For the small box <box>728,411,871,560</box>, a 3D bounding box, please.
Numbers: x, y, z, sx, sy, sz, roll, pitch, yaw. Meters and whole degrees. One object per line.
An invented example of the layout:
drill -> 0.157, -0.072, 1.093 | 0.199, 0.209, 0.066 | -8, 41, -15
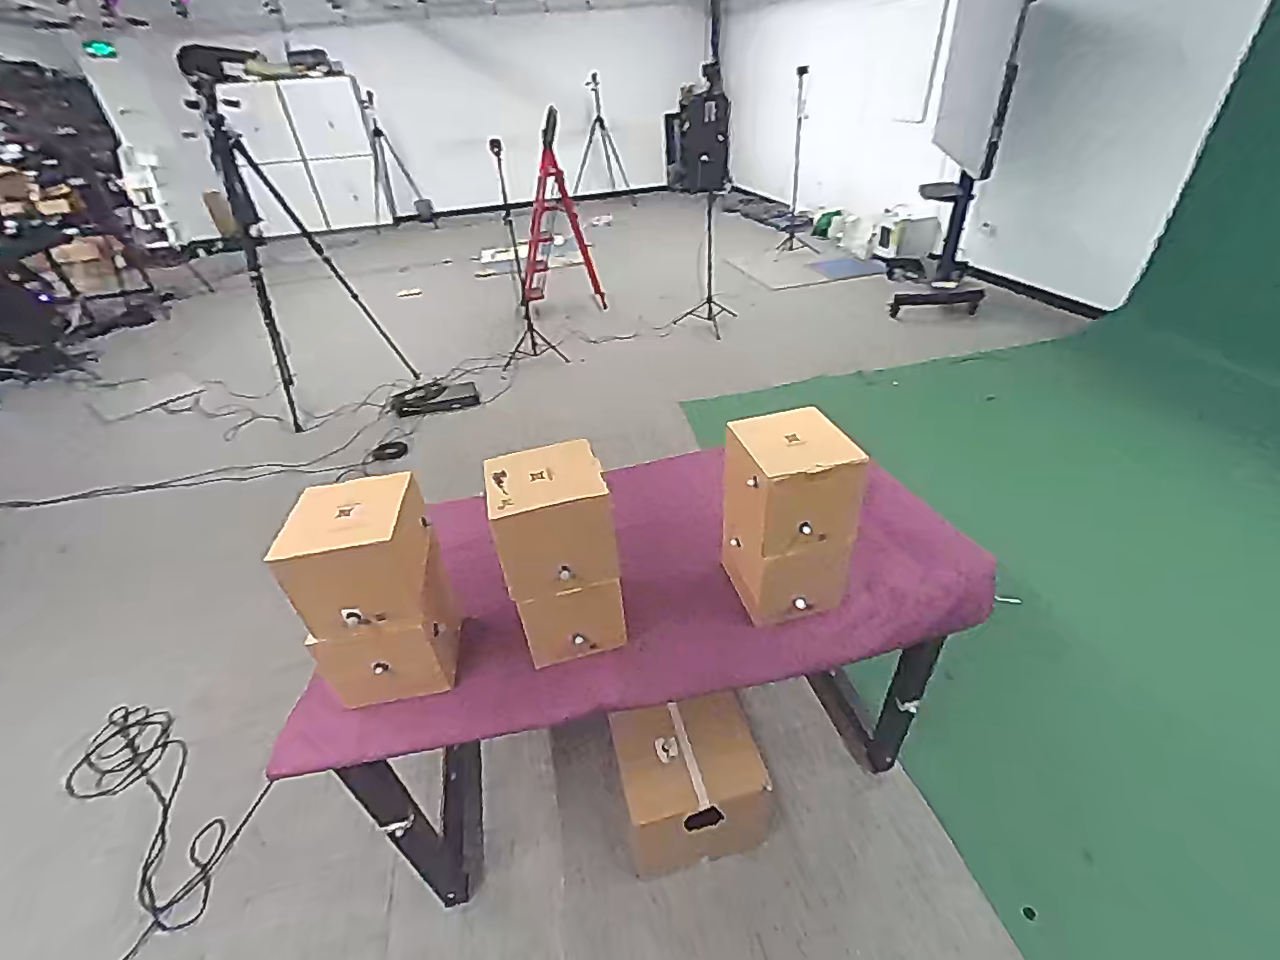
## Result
small box -> 0.253, 0.007, 0.911 | 0.168, 0.176, 0.179 | -11, 37, -9

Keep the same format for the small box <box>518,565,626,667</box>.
small box -> -0.126, 0.197, 0.964 | 0.168, 0.176, 0.179 | -12, 36, -10

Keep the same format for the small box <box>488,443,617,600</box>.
small box -> -0.137, 0.064, 0.867 | 0.179, 0.176, 0.168 | -11, 35, -11

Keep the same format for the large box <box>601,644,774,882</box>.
large box -> 0.100, 0.702, 1.377 | 0.320, 0.320, 0.408 | -11, 37, -9

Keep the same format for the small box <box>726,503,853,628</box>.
small box -> 0.263, 0.141, 1.002 | 0.168, 0.176, 0.179 | -11, 37, -9

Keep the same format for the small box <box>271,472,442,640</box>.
small box -> -0.415, 0.113, 0.830 | 0.168, 0.176, 0.179 | -10, 36, -6
